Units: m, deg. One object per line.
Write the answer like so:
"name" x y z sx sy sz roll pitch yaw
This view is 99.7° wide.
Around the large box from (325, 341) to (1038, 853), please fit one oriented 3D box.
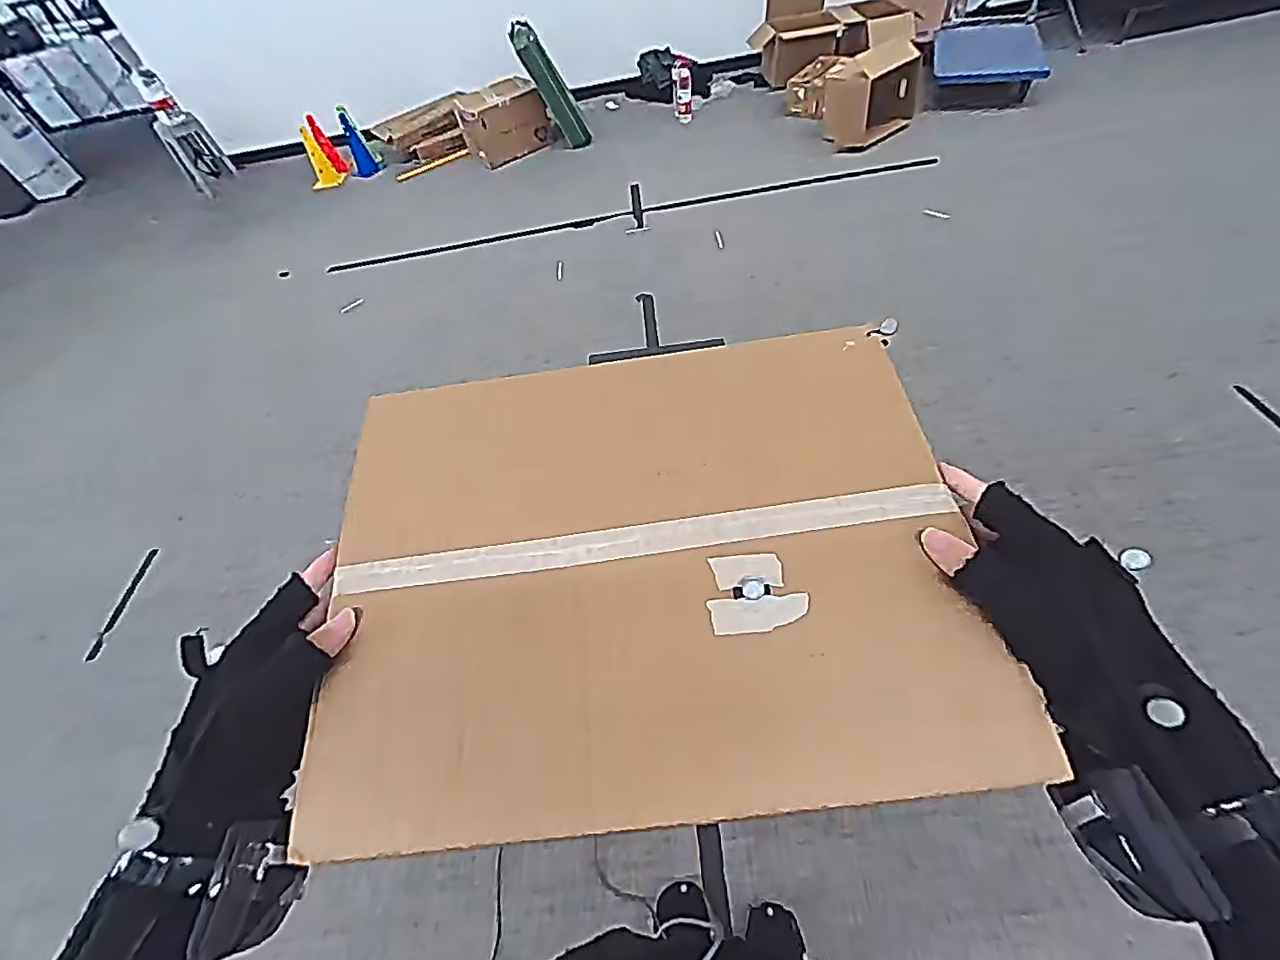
"large box" 0.016 0.119 0.496 0.408 0.320 0.320 -8 61 2
